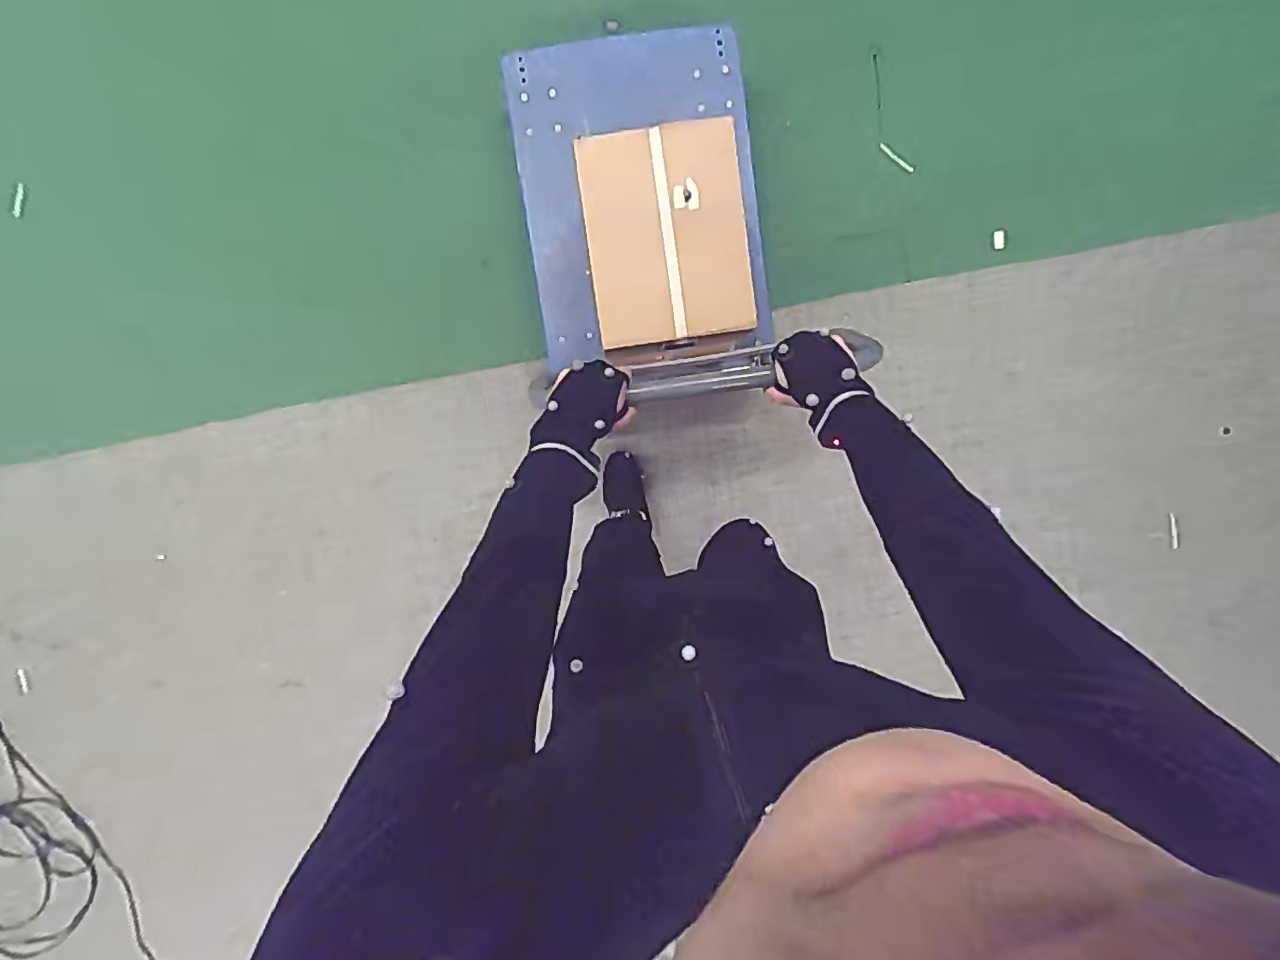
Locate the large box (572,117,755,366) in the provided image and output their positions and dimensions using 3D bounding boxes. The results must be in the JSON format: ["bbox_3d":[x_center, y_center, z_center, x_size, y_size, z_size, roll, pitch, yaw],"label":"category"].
[{"bbox_3d":[0.048,-0.493,1.202,0.320,0.320,0.408,-8,95,-1],"label":"large box"}]
